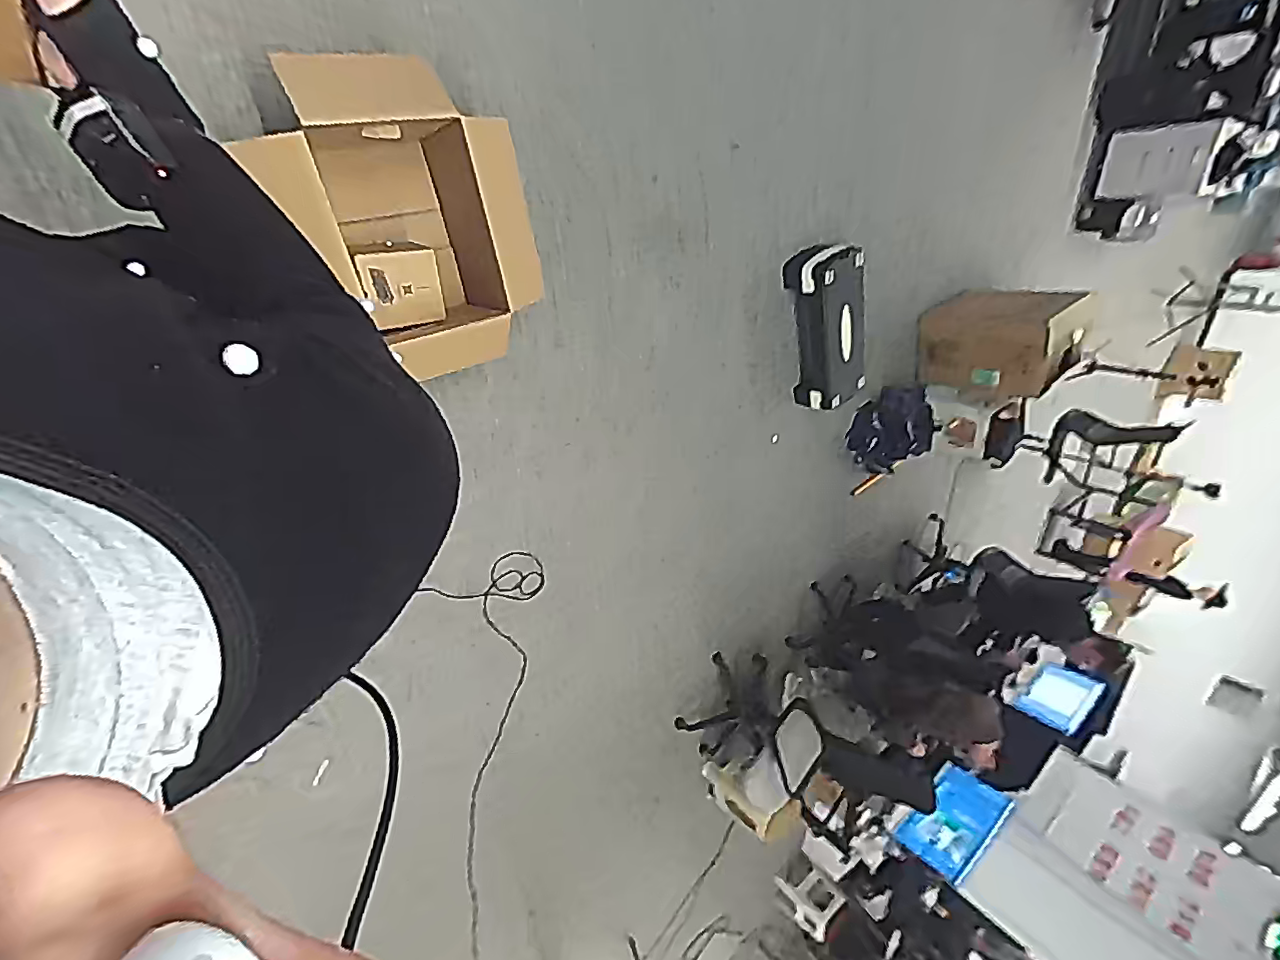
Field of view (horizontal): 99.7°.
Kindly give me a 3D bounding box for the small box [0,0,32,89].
[{"bbox_3d":[-0.511,-0.393,0.321,0.168,0.176,0.179,-14,83,-42],"label":"small box"}]
